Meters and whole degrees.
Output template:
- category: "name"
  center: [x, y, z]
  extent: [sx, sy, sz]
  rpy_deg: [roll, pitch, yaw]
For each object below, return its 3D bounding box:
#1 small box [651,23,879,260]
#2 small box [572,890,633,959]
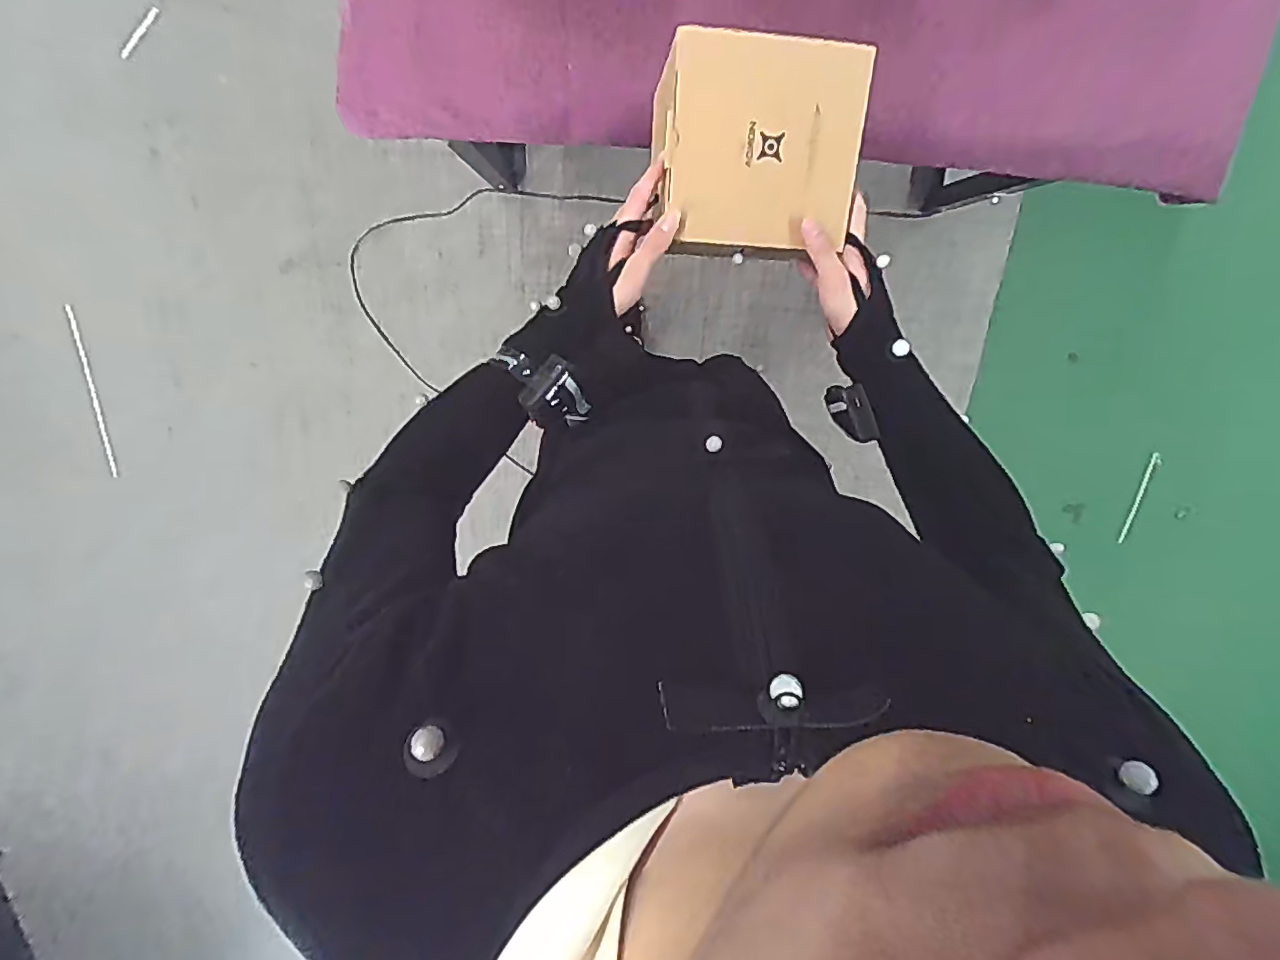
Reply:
- category: "small box"
  center: [0.107, -0.323, 0.554]
  extent: [0.179, 0.176, 0.168]
  rpy_deg: [2, 109, -6]
- category: "small box"
  center: [-0.109, 1.332, 1.558]
  extent: [0.168, 0.176, 0.179]
  rpy_deg: [5, 107, -3]
